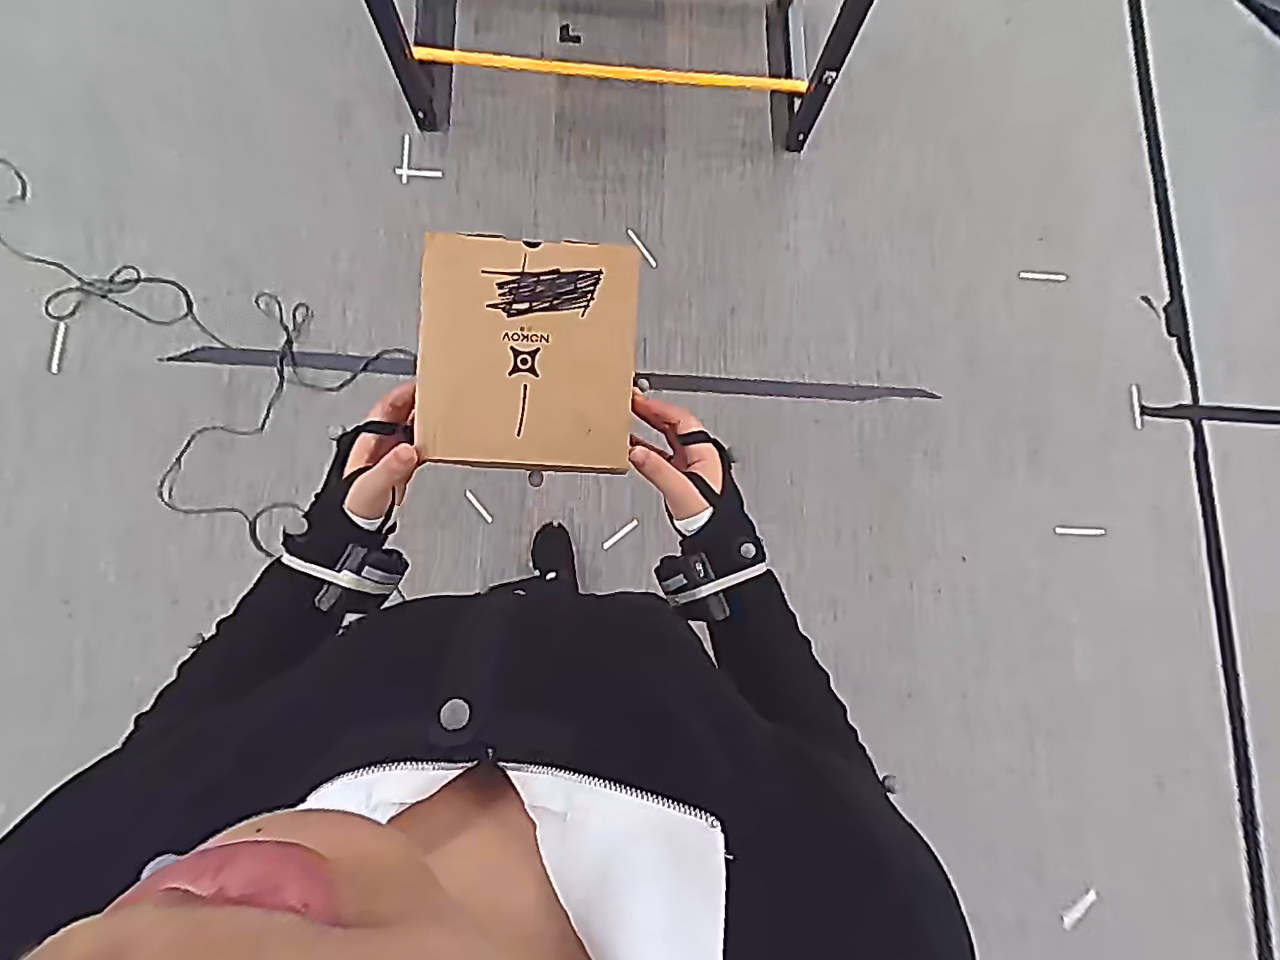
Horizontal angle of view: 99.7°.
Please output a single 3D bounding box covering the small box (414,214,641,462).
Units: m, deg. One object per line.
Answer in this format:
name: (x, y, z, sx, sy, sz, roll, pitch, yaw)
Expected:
small box: (-0.089, -0.111, 0.494, 0.168, 0.176, 0.179, 3, 89, -2)
